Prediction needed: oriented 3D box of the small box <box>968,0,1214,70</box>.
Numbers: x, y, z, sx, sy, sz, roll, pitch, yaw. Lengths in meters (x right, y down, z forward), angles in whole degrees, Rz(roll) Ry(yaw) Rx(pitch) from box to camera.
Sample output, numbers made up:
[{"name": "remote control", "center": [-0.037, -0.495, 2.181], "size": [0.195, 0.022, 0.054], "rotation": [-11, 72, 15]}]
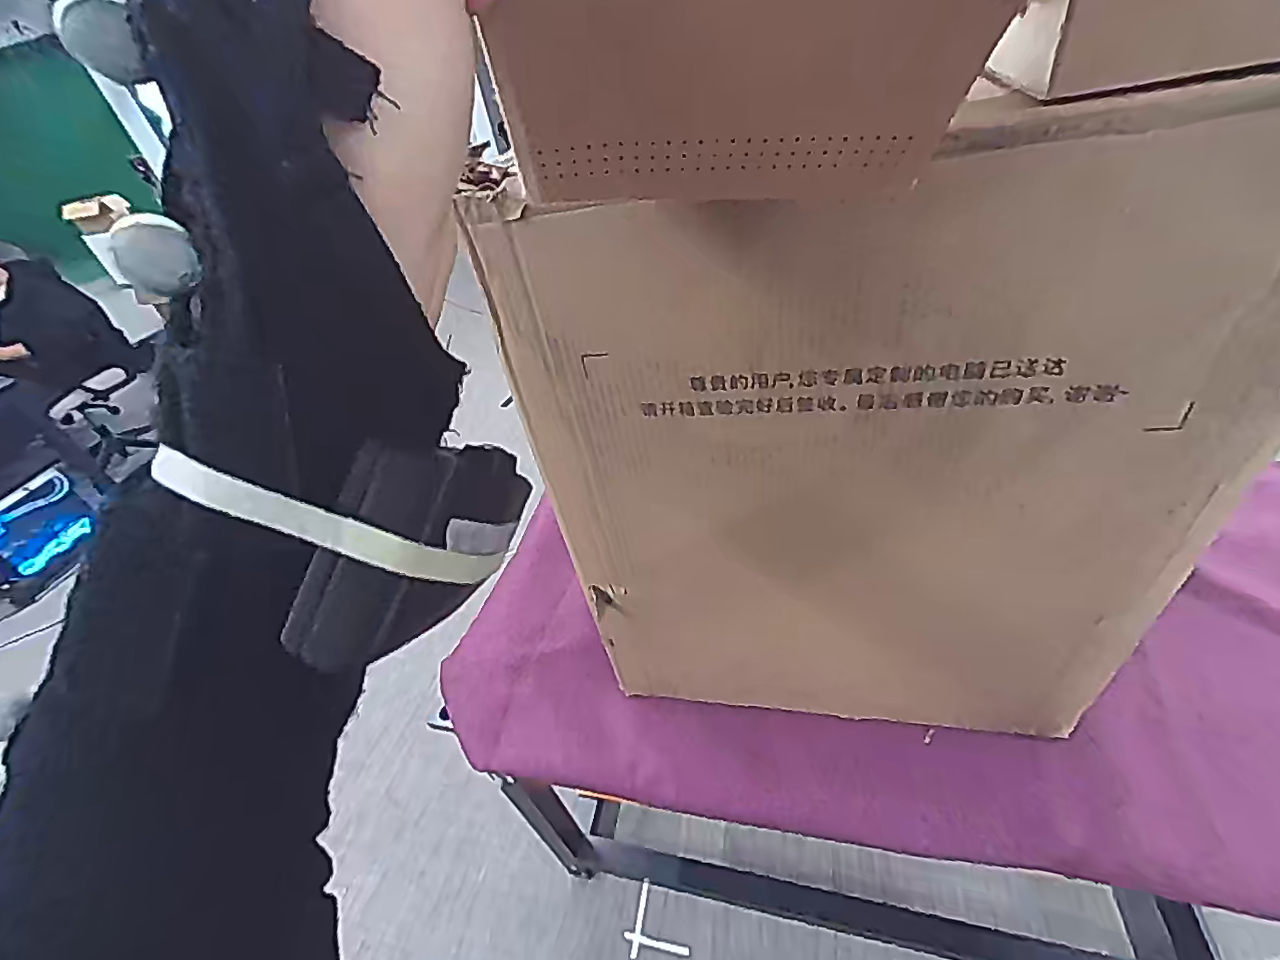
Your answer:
[{"name": "small box", "center": [0.322, -0.428, 0.408], "size": [0.168, 0.176, 0.179], "rotation": [1, 41, 17]}]
